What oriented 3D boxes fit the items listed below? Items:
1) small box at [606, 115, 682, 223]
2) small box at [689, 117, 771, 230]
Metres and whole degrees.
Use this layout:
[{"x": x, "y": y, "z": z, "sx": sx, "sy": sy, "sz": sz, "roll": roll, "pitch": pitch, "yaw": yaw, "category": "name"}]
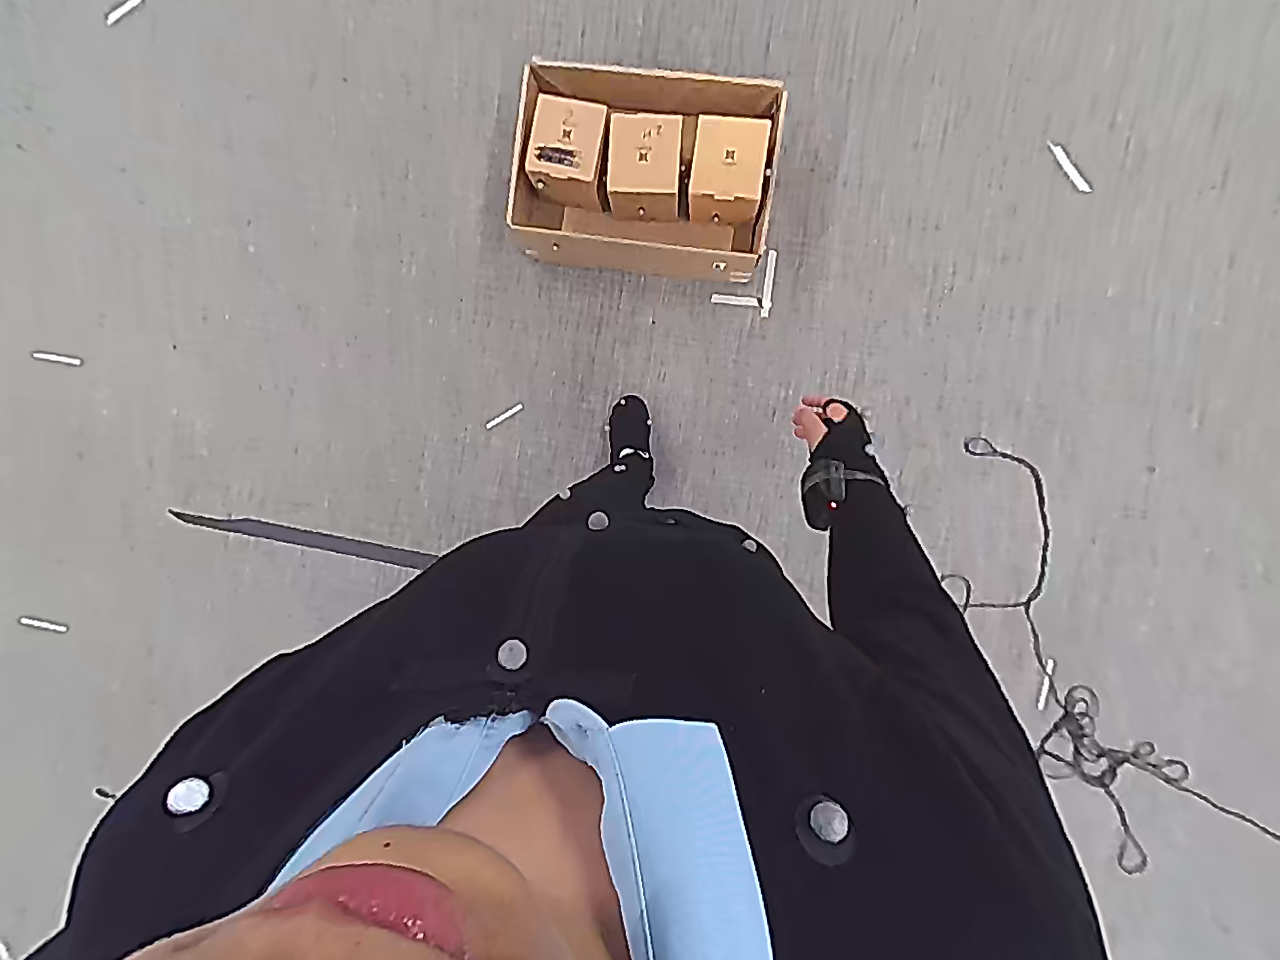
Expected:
[{"x": 0.014, "y": -0.747, "z": 1.316, "sx": 0.168, "sy": 0.176, "sz": 0.179, "roll": 4, "pitch": 93, "yaw": 3, "category": "small box"}, {"x": 0.210, "y": -0.731, "z": 1.302, "sx": 0.168, "sy": 0.176, "sz": 0.179, "roll": 8, "pitch": 94, "yaw": 6, "category": "small box"}]
